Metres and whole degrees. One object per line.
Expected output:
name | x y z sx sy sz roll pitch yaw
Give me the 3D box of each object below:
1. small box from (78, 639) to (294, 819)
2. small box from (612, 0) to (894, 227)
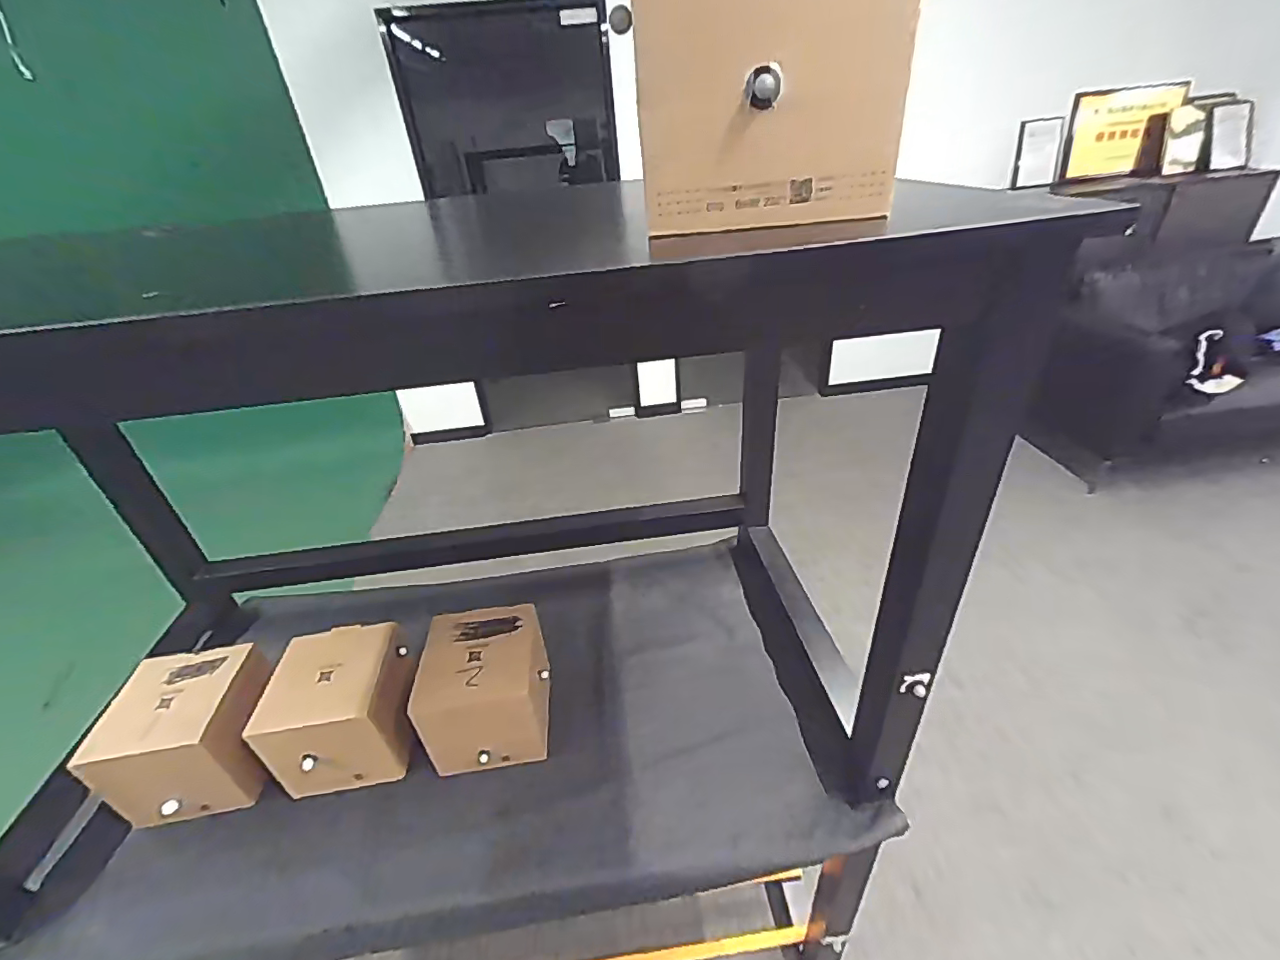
small box | -0.671 0.379 0.832 0.168 0.176 0.179 -9 33 -5
small box | 0.076 -0.289 0.397 0.168 0.176 0.179 -2 33 6
